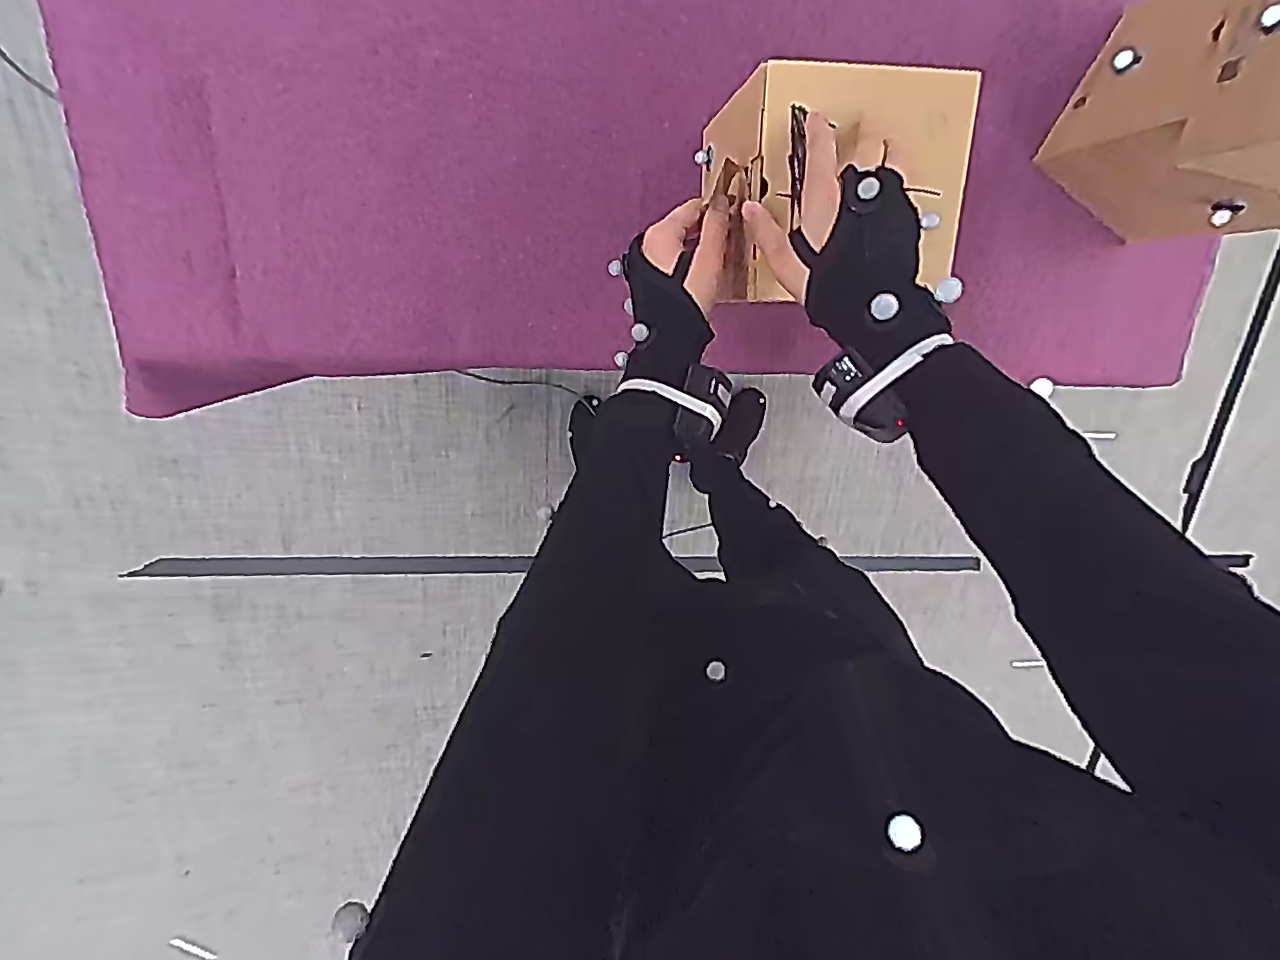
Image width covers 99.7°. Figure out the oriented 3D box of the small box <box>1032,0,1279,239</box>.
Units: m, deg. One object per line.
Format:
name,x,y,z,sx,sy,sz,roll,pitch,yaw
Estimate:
small box,0.550,-0.357,0.528,0.179,0.176,0.168,25,102,-16
